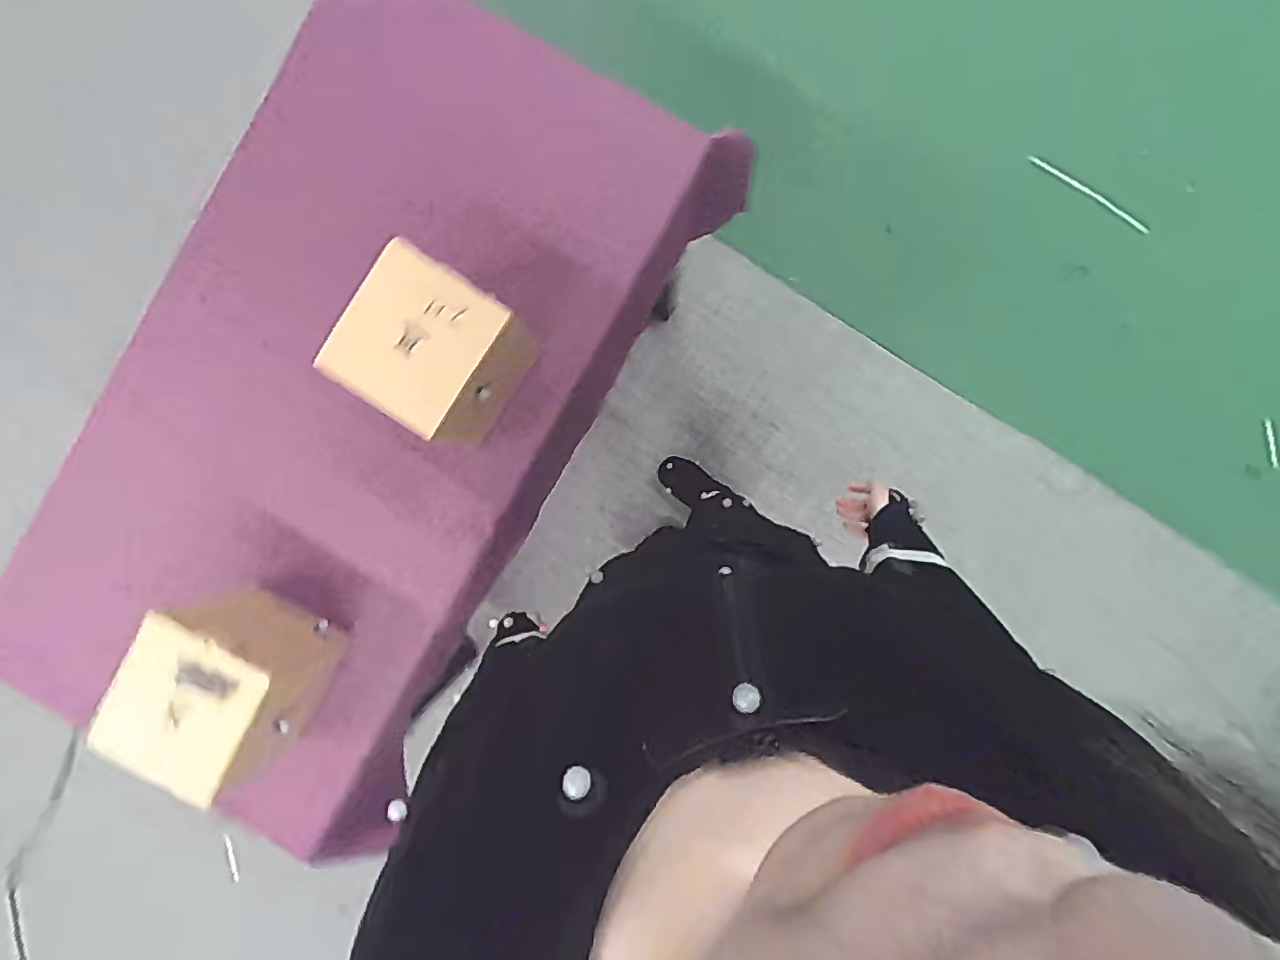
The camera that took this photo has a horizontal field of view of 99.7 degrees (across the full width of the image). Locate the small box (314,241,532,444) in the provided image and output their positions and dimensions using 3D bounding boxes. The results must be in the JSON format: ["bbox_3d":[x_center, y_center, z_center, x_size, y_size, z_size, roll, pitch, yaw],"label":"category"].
[{"bbox_3d":[-0.261,-0.159,0.697,0.168,0.176,0.179,33,91,1],"label":"small box"}]

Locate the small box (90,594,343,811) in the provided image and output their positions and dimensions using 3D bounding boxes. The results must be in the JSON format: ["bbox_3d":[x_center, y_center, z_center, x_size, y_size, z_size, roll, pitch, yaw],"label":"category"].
[{"bbox_3d":[-0.528,0.271,0.705,0.168,0.176,0.179,27,92,2],"label":"small box"}]
